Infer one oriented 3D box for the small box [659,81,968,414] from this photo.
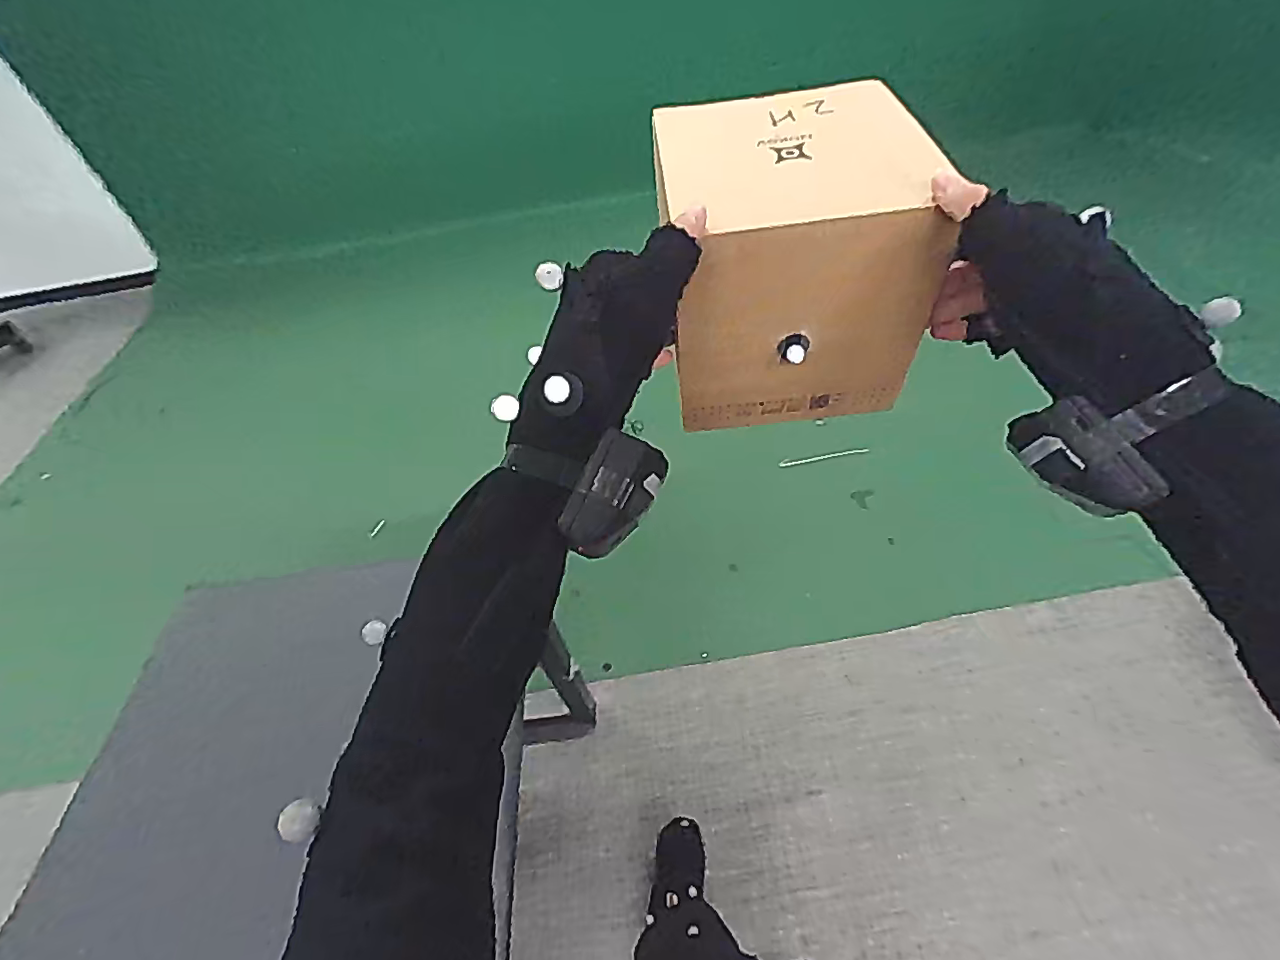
[{"bbox_3d":[0.106,-0.164,0.412,0.168,0.176,0.179,-5,54,3],"label":"small box"}]
